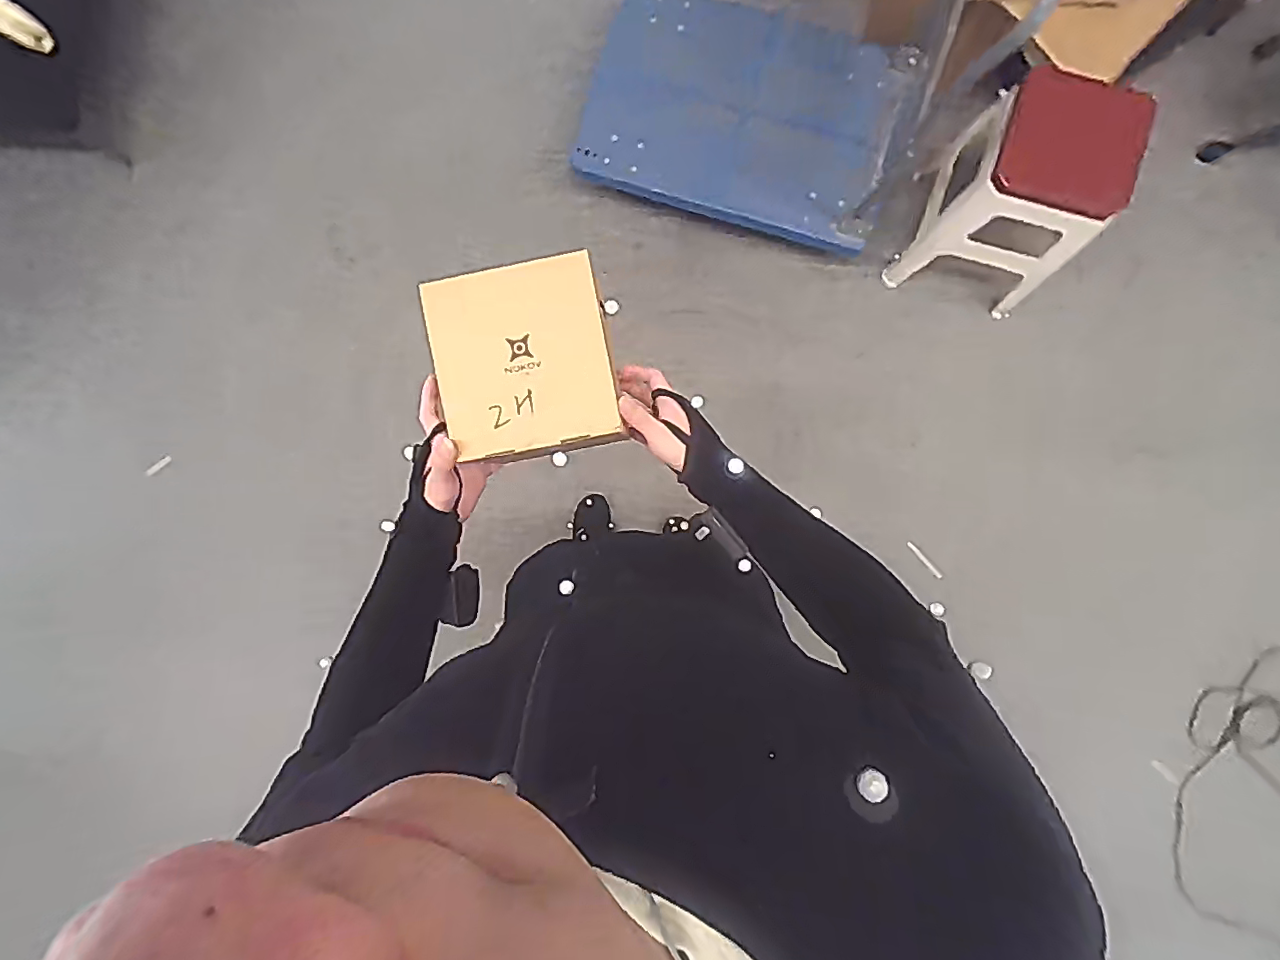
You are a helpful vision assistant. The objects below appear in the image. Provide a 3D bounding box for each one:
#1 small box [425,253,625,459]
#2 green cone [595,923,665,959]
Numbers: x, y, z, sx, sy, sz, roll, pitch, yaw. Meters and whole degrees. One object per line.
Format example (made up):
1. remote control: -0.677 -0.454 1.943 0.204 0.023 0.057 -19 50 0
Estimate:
1. small box: -0.113 -0.122 0.600 0.168 0.176 0.179 -10 92 2
2. green cone: -0.036 1.414 1.426 0.202 0.368 0.200 6 89 1
